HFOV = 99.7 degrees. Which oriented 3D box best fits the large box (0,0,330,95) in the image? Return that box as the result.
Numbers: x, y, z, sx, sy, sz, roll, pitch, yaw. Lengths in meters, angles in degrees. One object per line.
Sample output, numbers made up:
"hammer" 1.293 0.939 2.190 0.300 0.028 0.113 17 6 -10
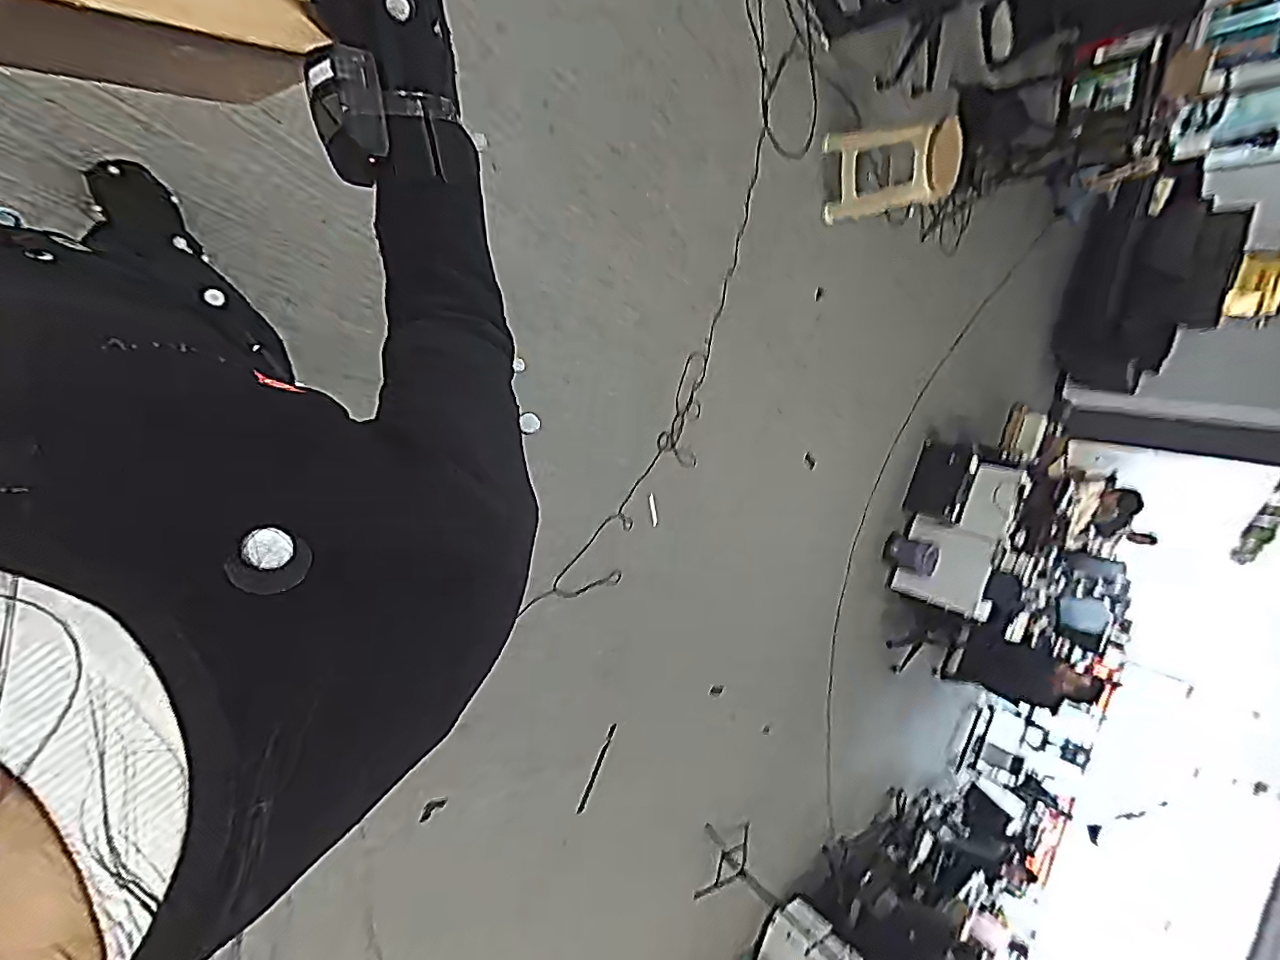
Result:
"large box" -0.441 -0.415 0.259 0.408 0.320 0.320 -20 125 -39
